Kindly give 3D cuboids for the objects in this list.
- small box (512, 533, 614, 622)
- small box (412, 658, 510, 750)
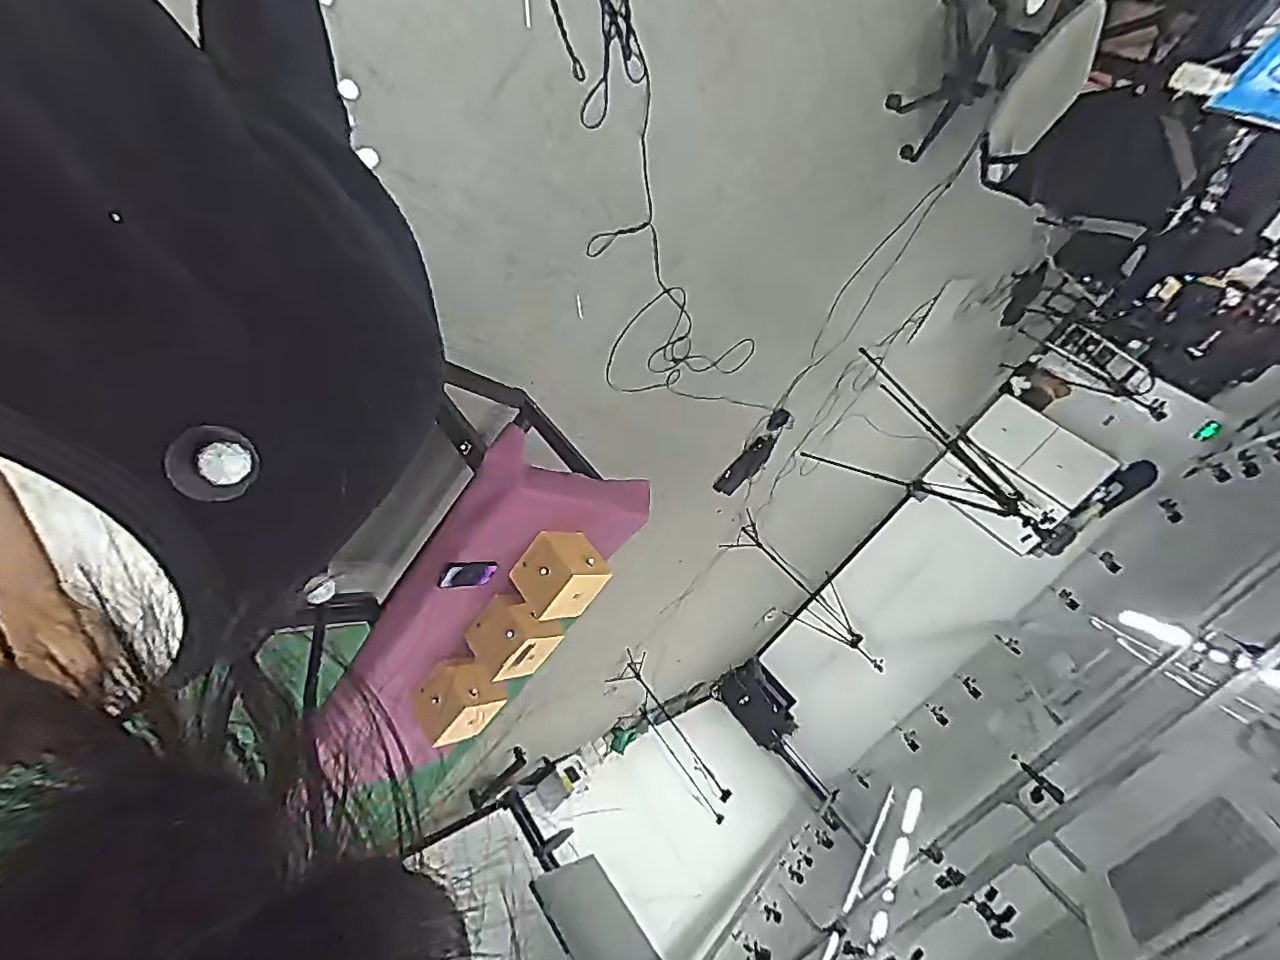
[{"bbox_3d":[-0.211,0.258,1.459,0.168,0.176,0.179,-53,151,15],"label":"small box"},{"bbox_3d":[-0.520,0.638,1.562,0.168,0.176,0.179,-49,151,10],"label":"small box"}]
